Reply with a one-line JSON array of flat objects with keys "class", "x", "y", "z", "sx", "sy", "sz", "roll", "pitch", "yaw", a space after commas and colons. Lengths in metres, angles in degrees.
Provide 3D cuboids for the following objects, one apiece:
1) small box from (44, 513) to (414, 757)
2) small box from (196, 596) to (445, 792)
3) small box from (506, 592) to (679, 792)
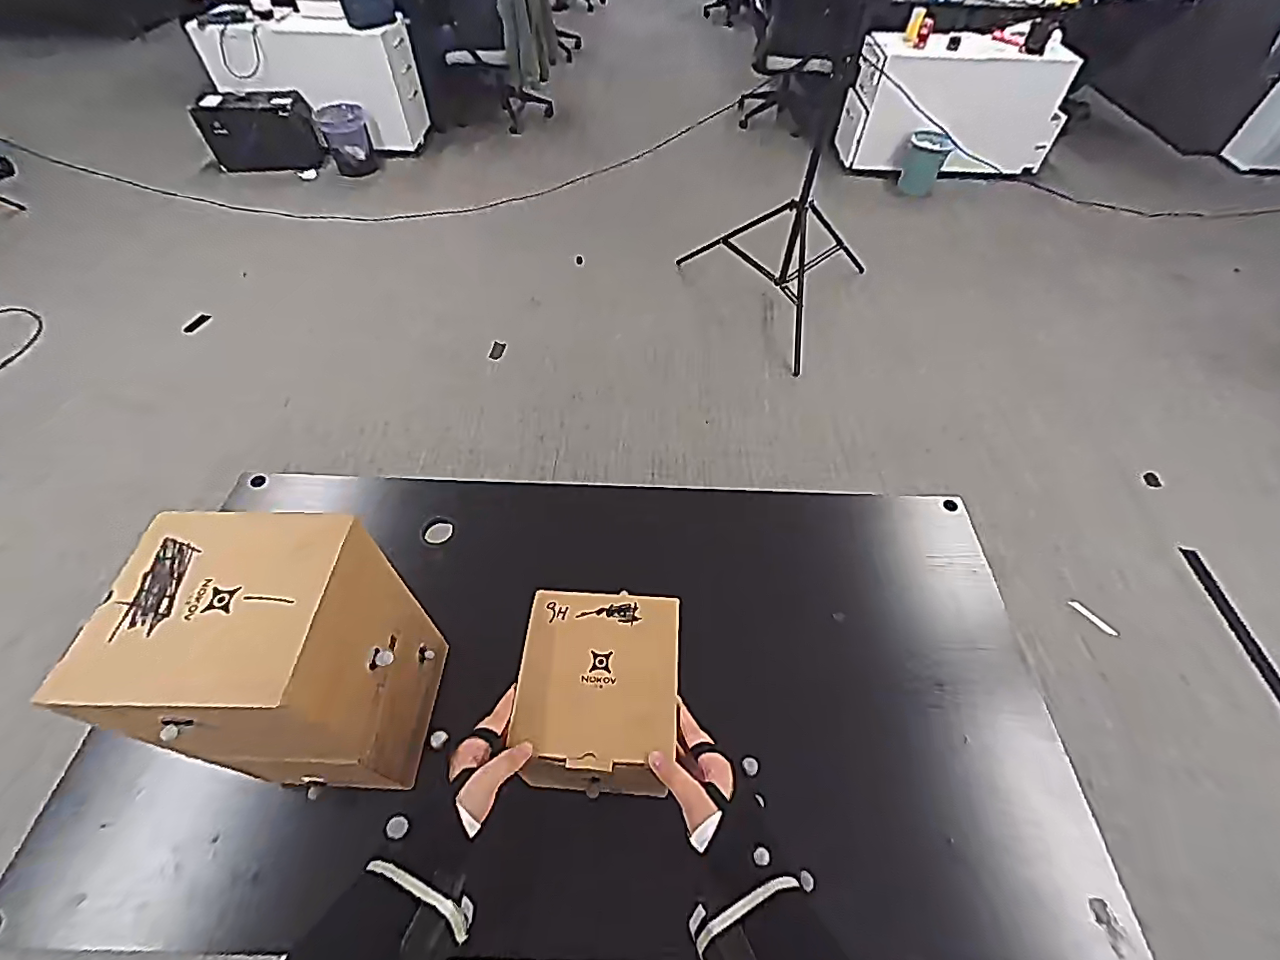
[{"class": "small box", "x": -0.336, "y": 0.146, "z": 0.492, "sx": 0.179, "sy": 0.176, "sz": 0.168, "roll": 1, "pitch": 52, "yaw": -1}, {"class": "small box", "x": -0.339, "y": 0.245, "z": 0.623, "sx": 0.168, "sy": 0.176, "sz": 0.179, "roll": 1, "pitch": 53, "yaw": 0}, {"class": "small box", "x": -0.042, "y": 0.249, "z": 0.626, "sx": 0.168, "sy": 0.176, "sz": 0.179, "roll": 3, "pitch": 52, "yaw": 2}]
